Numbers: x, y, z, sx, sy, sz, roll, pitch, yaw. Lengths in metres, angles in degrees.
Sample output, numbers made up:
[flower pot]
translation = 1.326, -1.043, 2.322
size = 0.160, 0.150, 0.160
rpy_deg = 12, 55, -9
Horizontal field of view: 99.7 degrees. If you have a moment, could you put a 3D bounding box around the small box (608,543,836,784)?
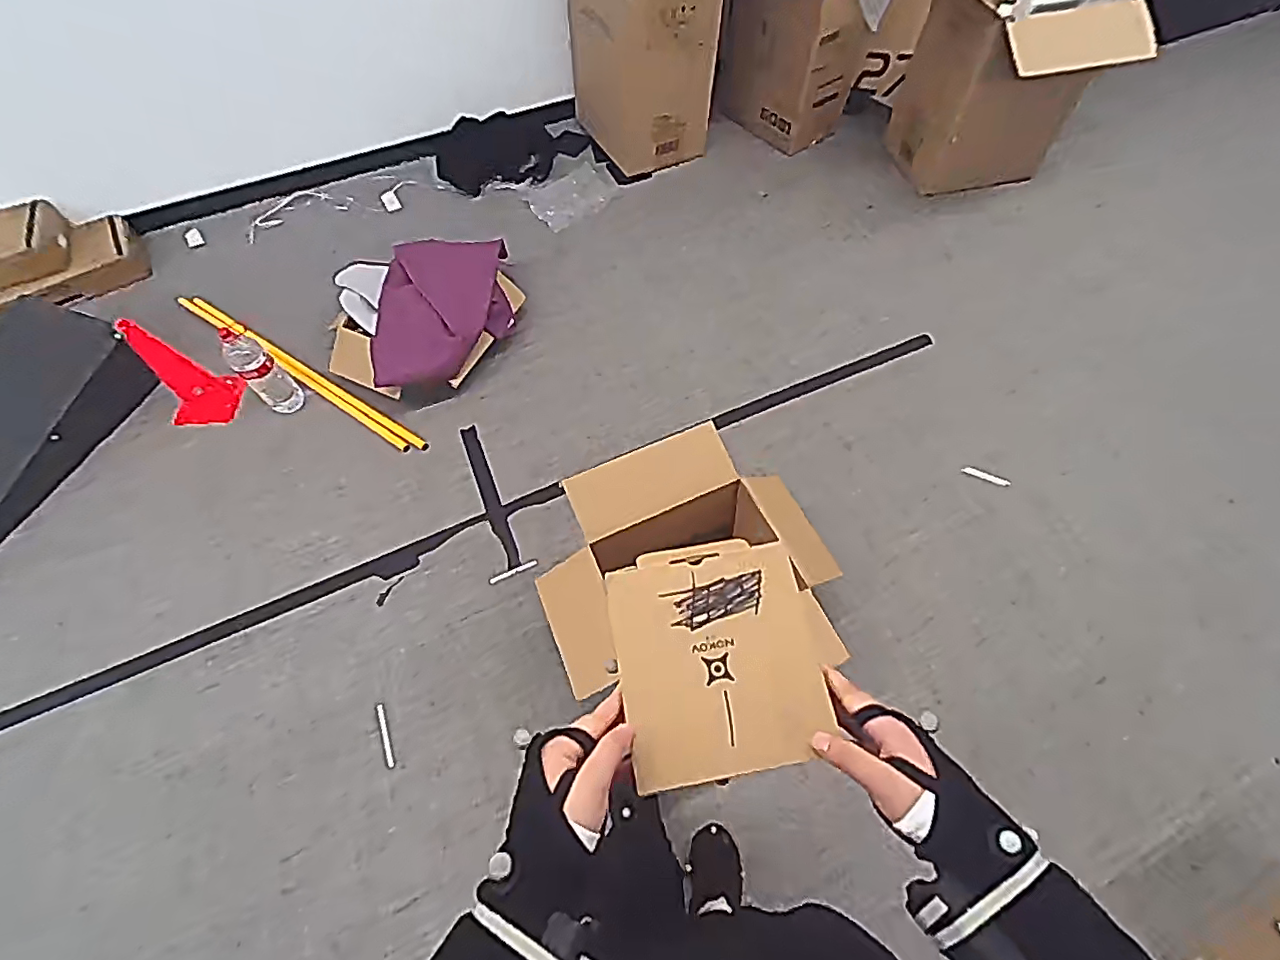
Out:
[small box]
translation = 0.065, 0.180, 0.533
size = 0.168, 0.176, 0.179
rpy_deg = -10, 67, -2
